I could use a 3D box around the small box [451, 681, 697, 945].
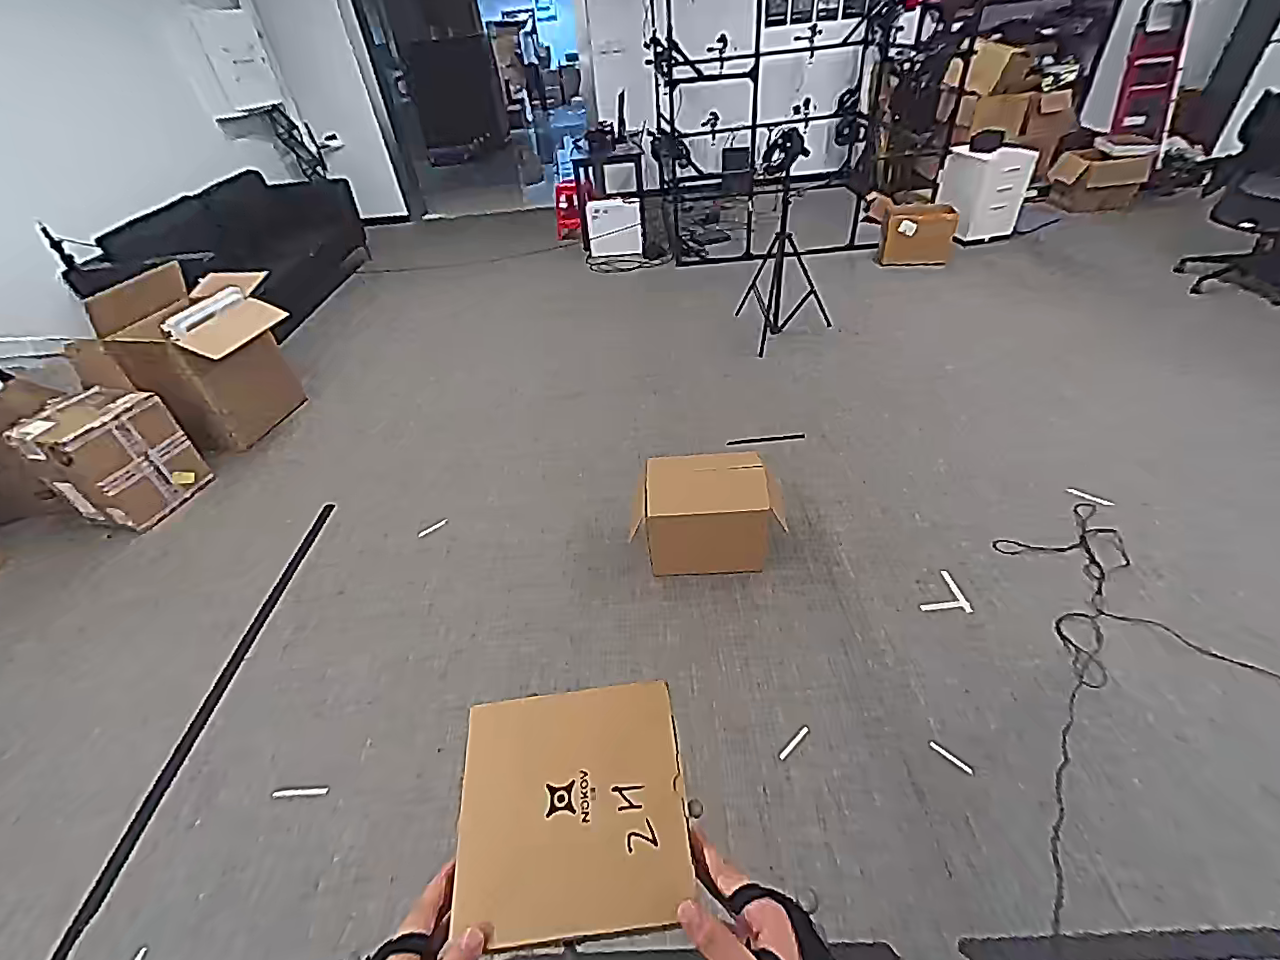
[{"bbox_3d":[-0.046,0.299,0.483,0.179,0.176,0.168,-7,50,-1],"label":"small box"}]
